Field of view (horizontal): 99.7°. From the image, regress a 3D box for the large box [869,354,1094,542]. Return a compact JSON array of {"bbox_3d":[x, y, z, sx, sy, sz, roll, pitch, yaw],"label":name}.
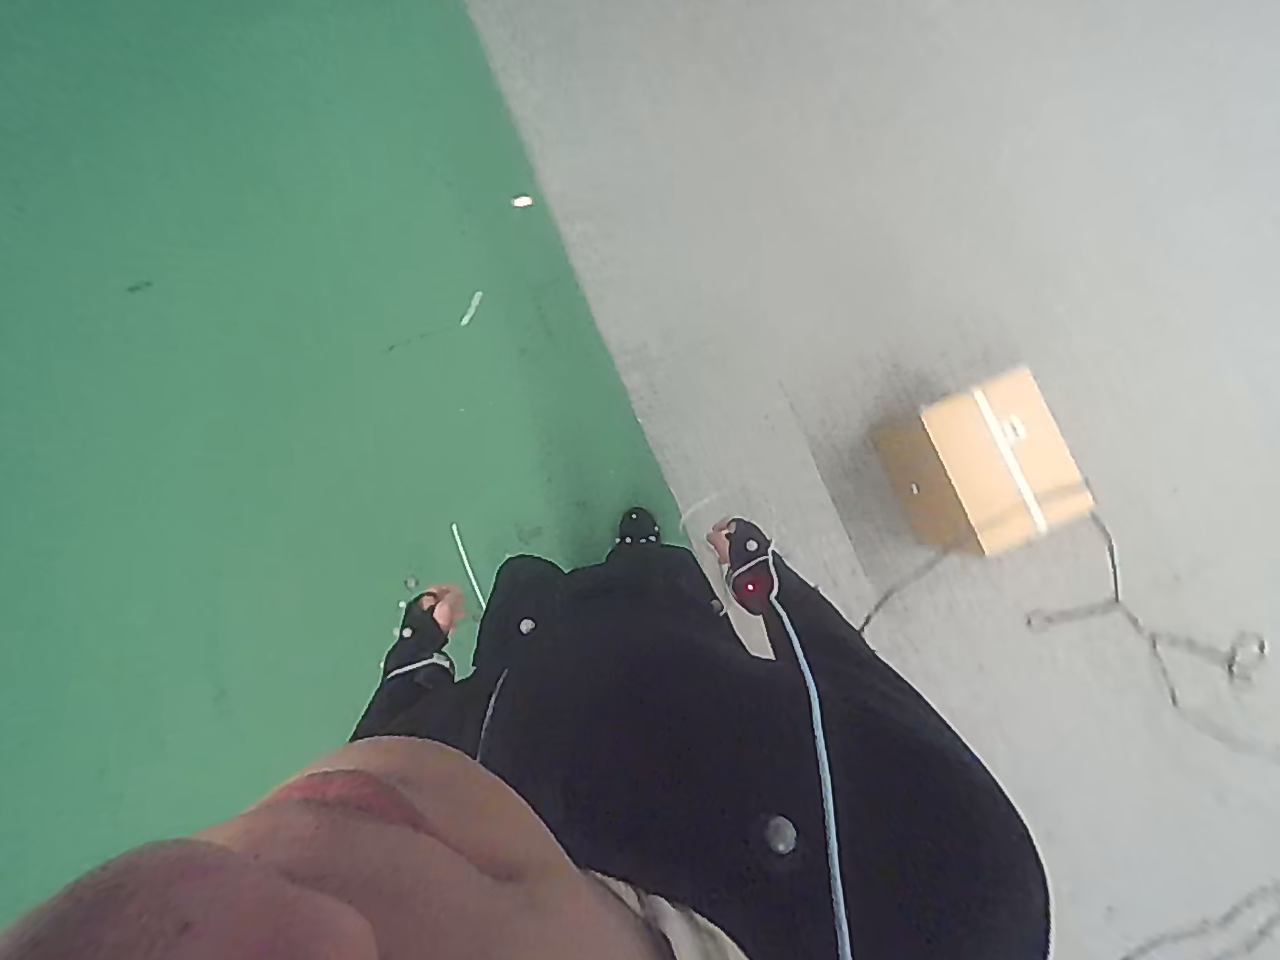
[{"bbox_3d":[0.924,-0.074,1.518,0.320,0.320,0.408,-25,86,-2],"label":"large box"}]
